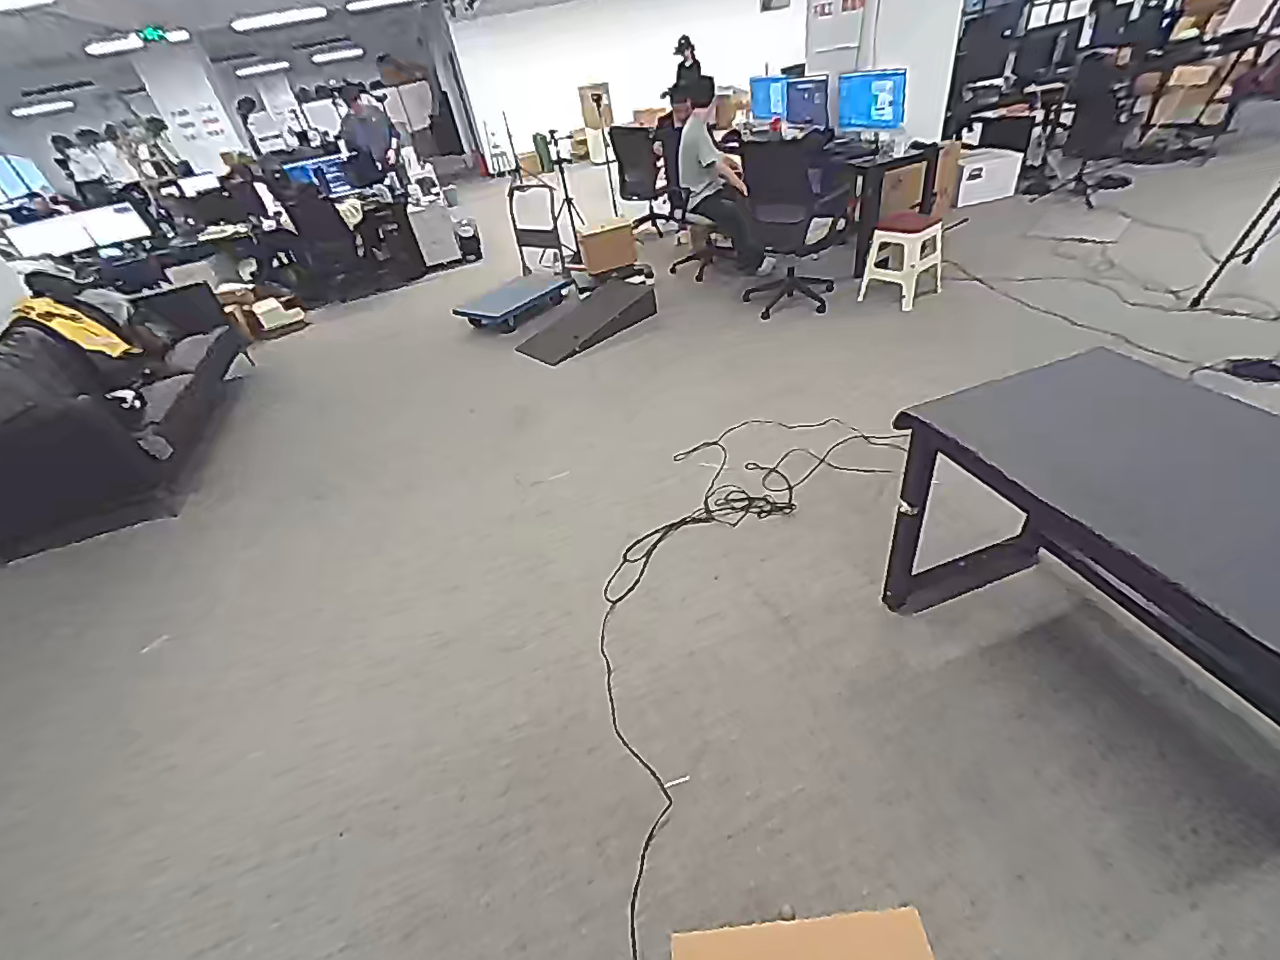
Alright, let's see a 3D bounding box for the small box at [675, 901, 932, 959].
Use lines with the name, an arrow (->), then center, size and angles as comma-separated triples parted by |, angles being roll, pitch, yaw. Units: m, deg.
small box -> 0.117, 0.409, 0.363 | 0.168, 0.176, 0.179 | -8, 47, 3
